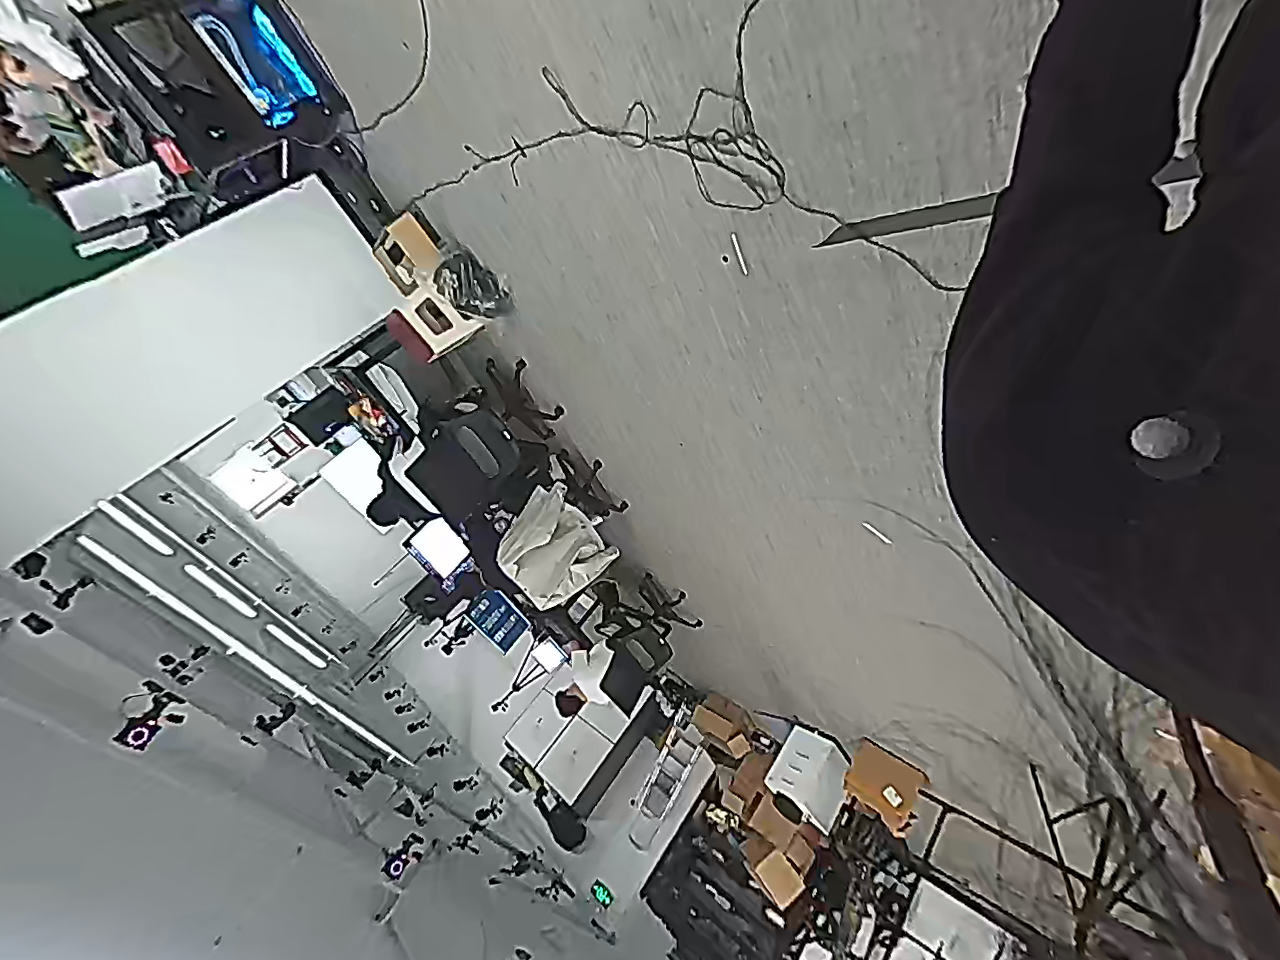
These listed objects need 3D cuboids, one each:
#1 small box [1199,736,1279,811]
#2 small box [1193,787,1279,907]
[{"bbox_3d":[1.677,0.843,1.480,0.179,0.176,0.168,12,140,48],"label":"small box"},{"bbox_3d":[1.577,0.945,1.402,0.168,0.176,0.179,12,139,47],"label":"small box"}]
